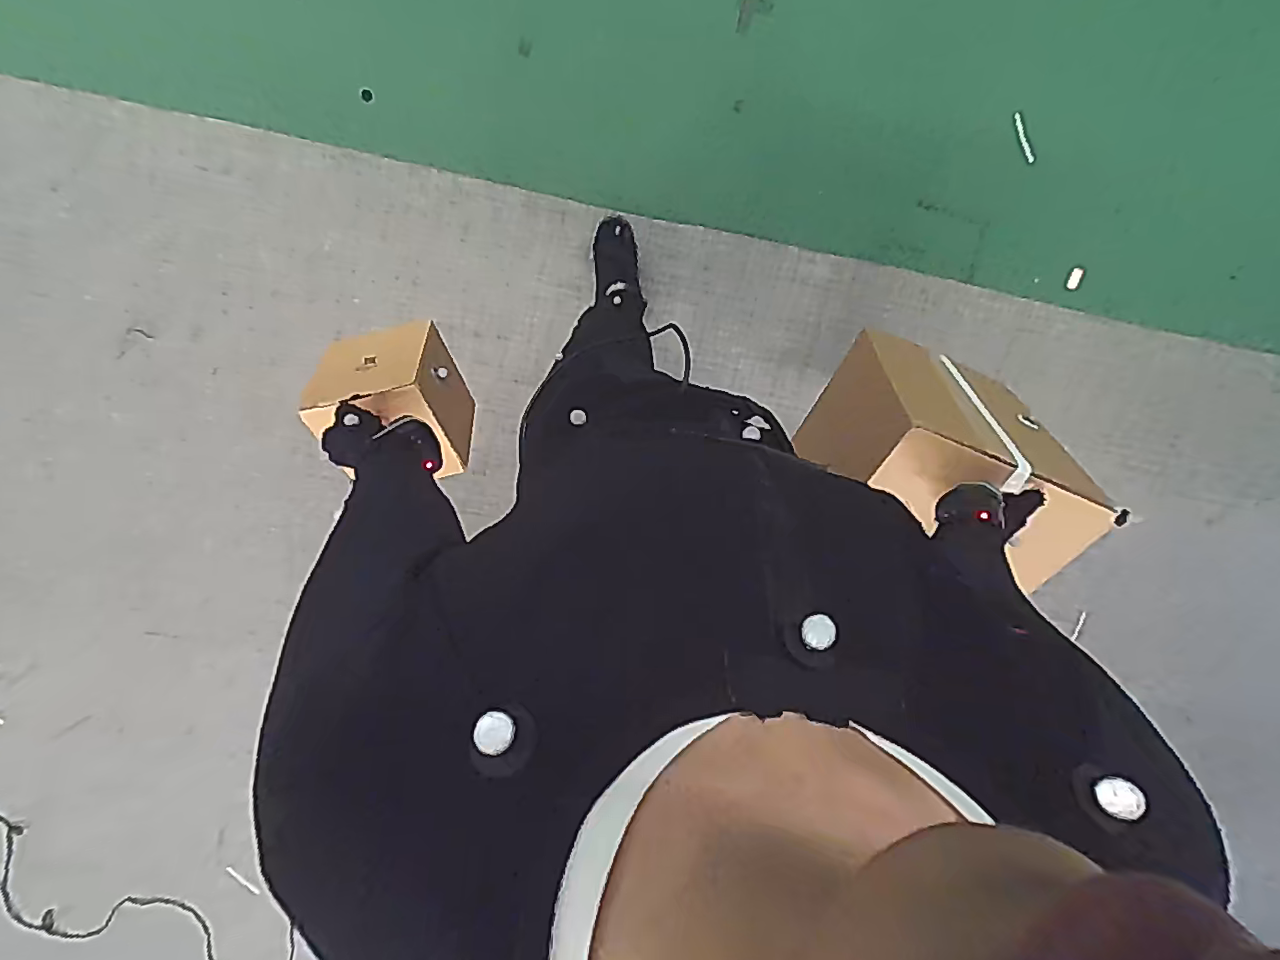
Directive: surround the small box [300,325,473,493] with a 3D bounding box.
[{"bbox_3d":[-0.371,-0.108,0.832,0.168,0.179,0.176,-13,135,2],"label":"small box"}]
